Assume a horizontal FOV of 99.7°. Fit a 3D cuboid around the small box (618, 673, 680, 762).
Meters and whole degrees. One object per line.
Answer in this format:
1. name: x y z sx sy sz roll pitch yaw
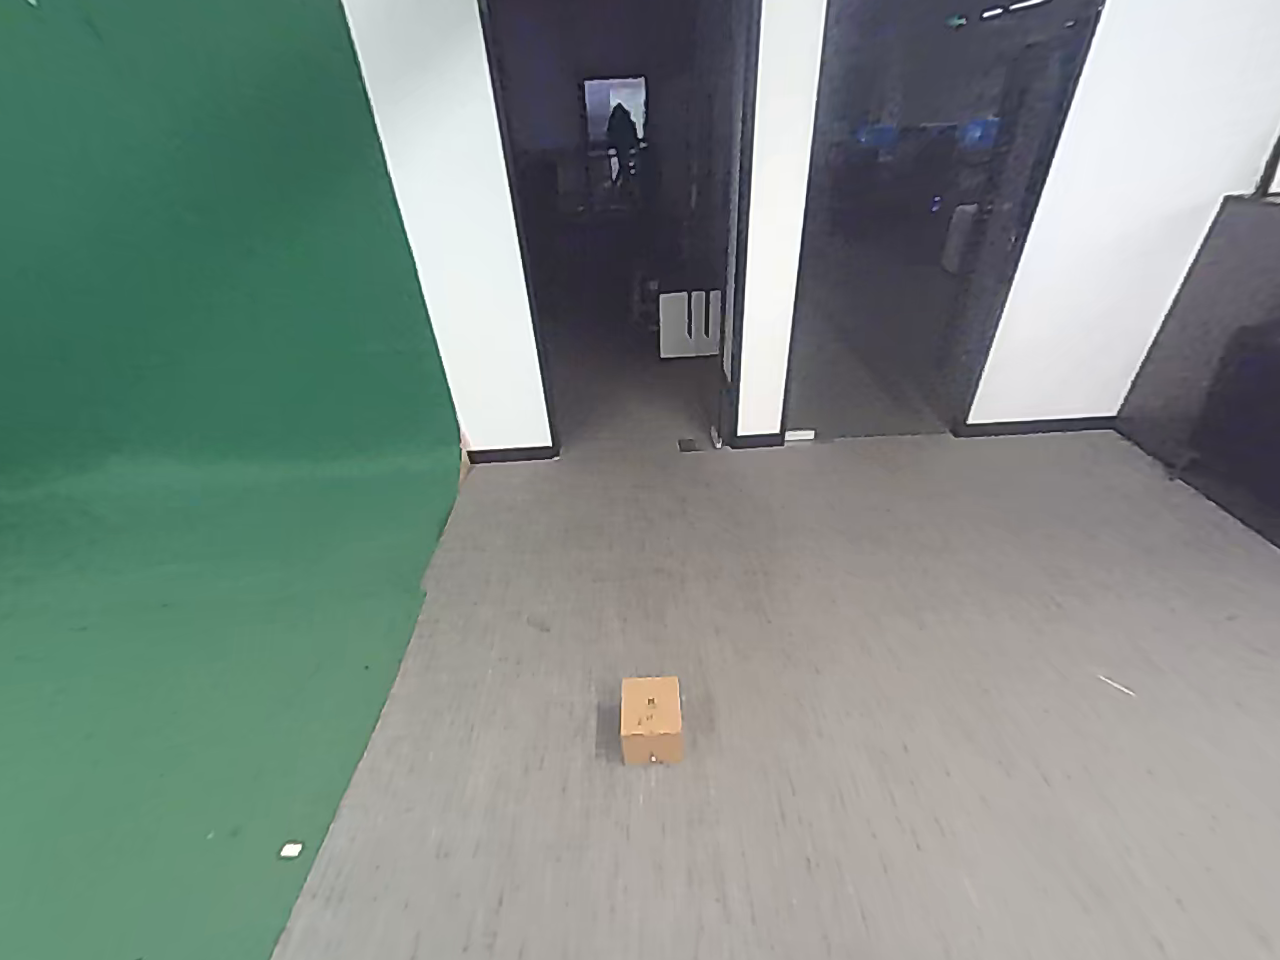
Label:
1. small box: 0.028 0.679 1.548 0.168 0.176 0.179 -3 36 2
